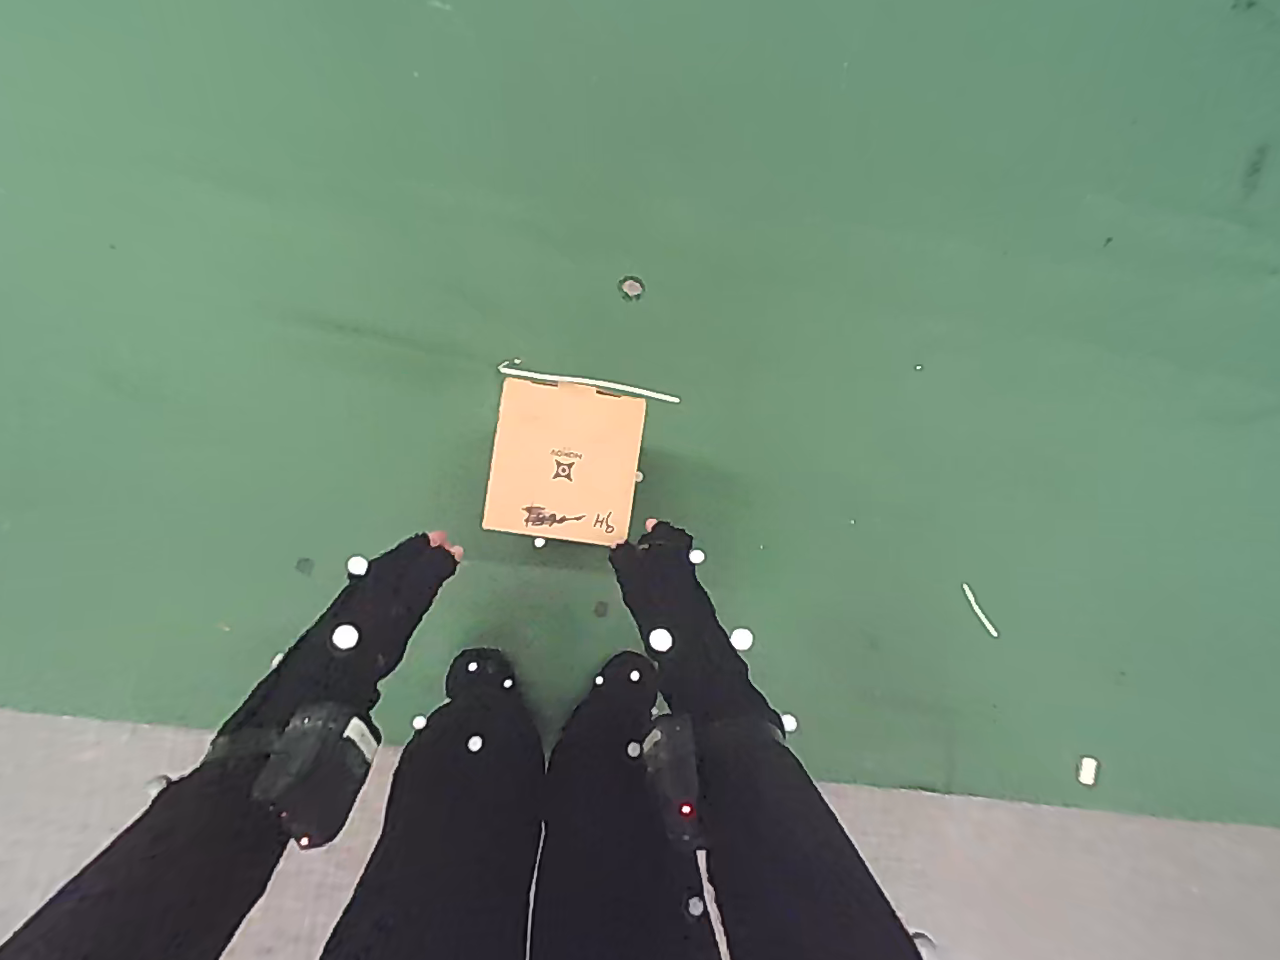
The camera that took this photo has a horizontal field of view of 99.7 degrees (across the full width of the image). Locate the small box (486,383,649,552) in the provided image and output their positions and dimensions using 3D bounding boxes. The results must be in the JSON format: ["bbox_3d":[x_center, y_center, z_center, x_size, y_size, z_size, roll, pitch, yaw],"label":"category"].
[{"bbox_3d":[-0.089,-0.011,0.698,0.168,0.176,0.179,8,87,-4],"label":"small box"}]
